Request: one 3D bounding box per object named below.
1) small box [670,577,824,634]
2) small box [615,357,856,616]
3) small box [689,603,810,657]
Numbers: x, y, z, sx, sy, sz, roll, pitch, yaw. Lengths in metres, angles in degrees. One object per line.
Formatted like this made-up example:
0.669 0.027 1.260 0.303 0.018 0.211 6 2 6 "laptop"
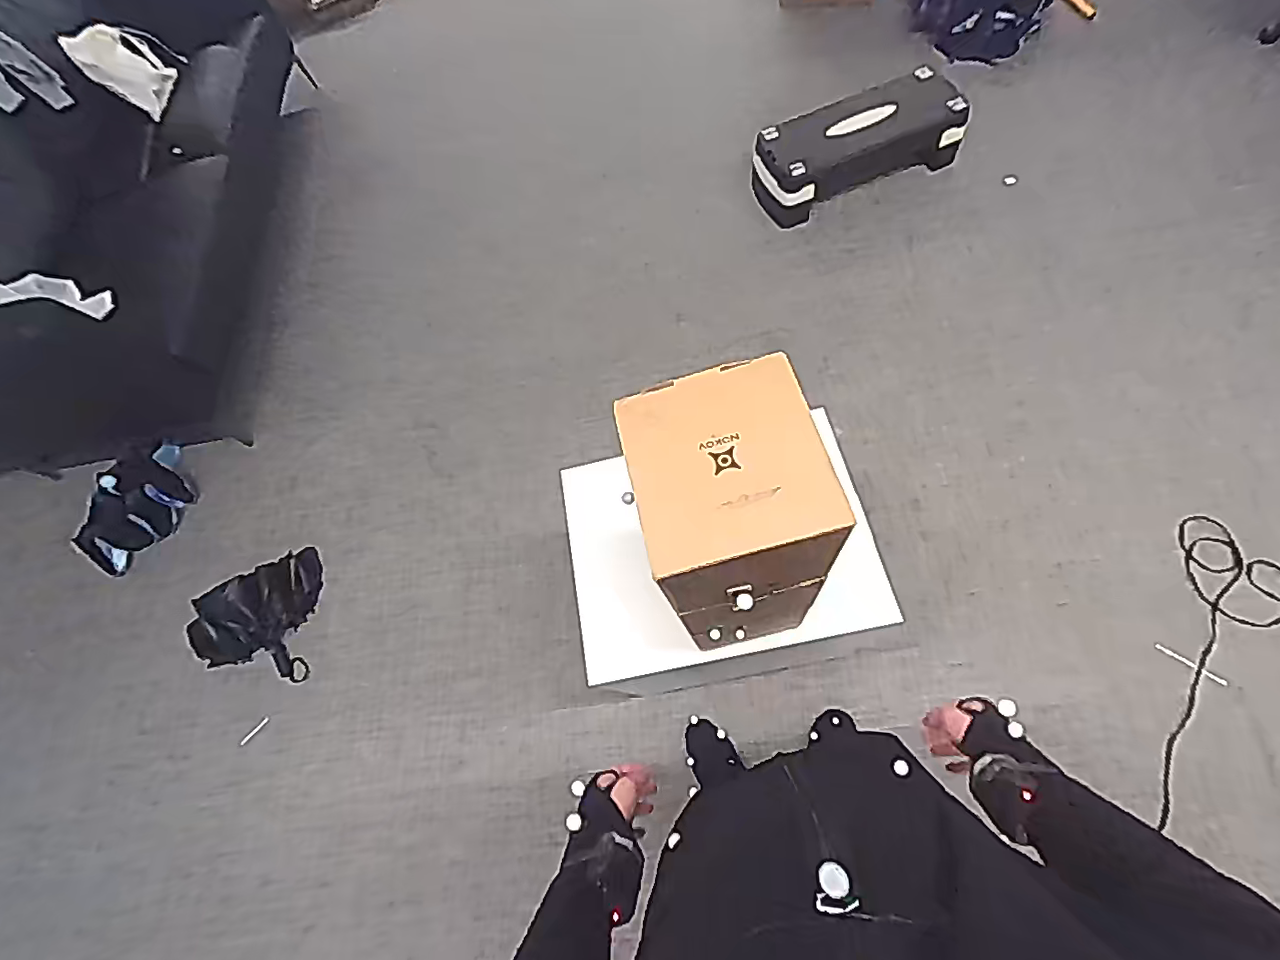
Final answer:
0.114 0.084 0.677 0.168 0.176 0.179 -16 62 3 "small box"
0.085 0.016 0.532 0.168 0.176 0.179 -17 64 4 "small box"
0.142 0.153 0.824 0.168 0.176 0.179 -17 62 4 "small box"
